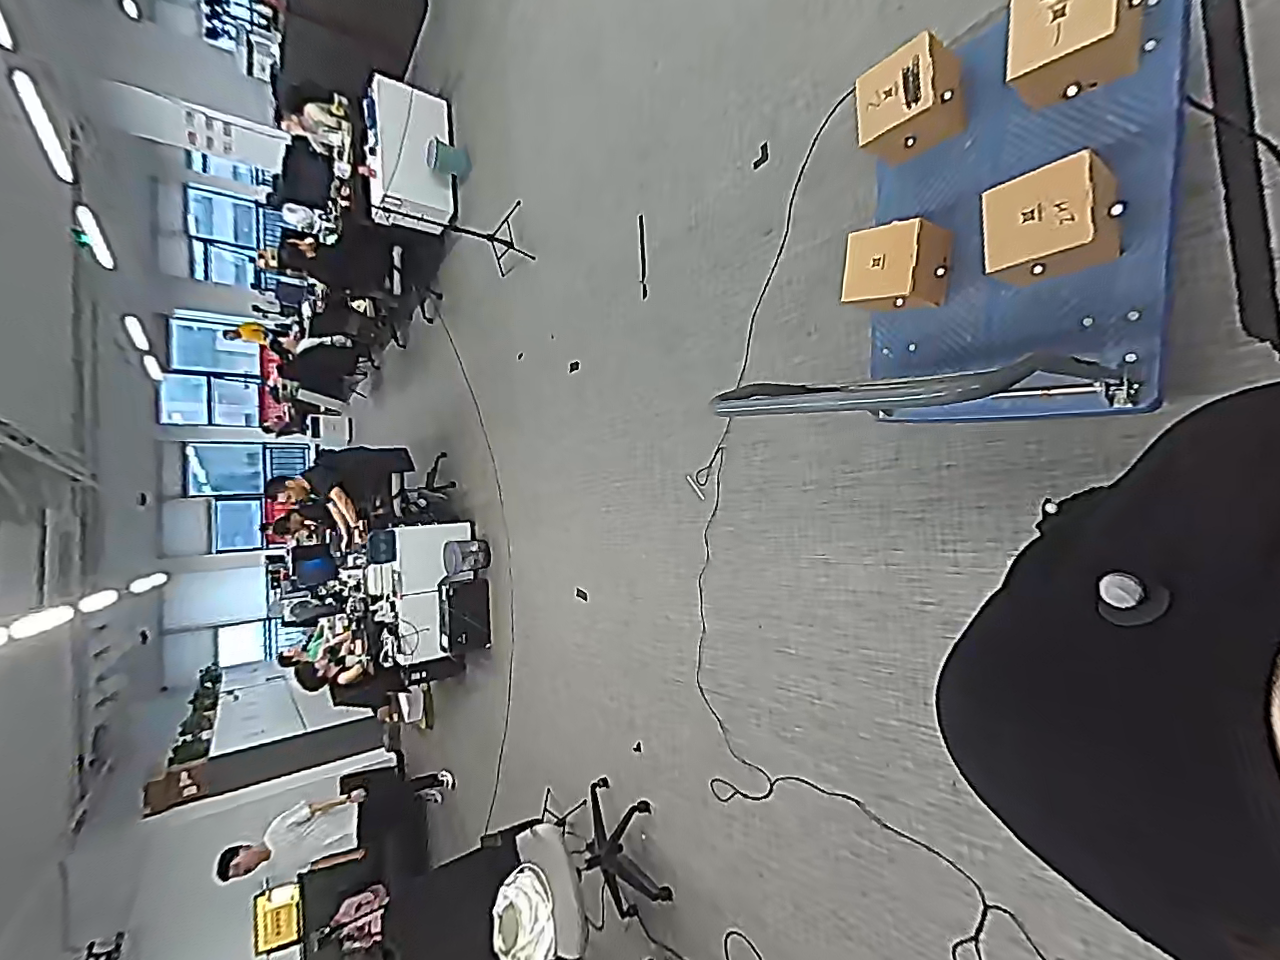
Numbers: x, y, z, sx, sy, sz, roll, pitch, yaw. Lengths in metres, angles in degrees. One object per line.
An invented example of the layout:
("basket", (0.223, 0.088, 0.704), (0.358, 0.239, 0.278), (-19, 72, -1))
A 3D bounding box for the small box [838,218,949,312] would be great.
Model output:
("small box", (0.612, -0.509, 1.310), (0.179, 0.176, 0.168), (13, 101, 50))

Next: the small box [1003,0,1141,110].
("small box", (0.818, -0.854, 1.024), (0.168, 0.176, 0.179), (7, 98, 53))

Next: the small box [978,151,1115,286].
("small box", (0.798, -0.498, 1.064), (0.179, 0.176, 0.168), (-3, 89, 53))
